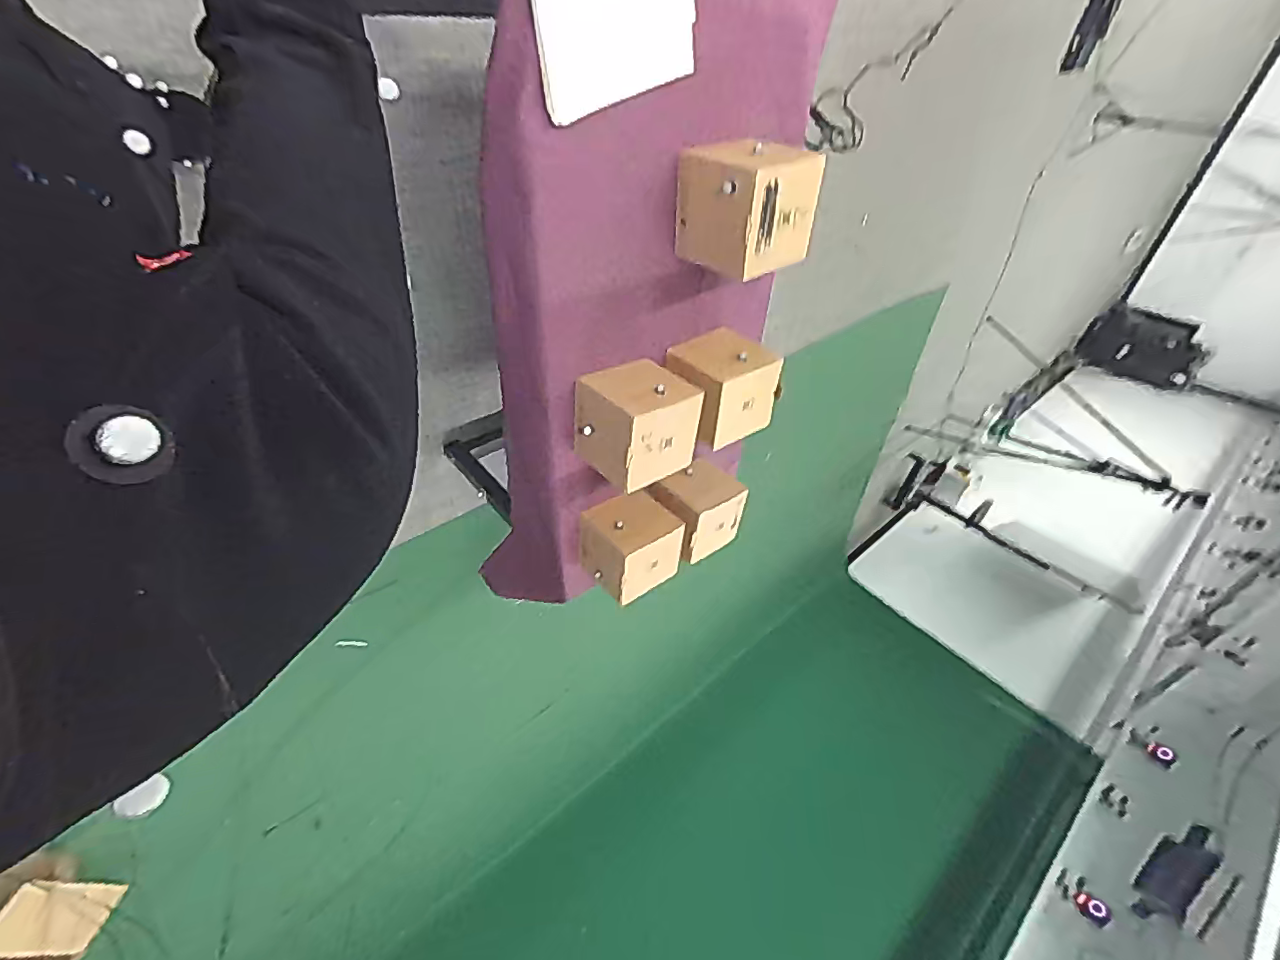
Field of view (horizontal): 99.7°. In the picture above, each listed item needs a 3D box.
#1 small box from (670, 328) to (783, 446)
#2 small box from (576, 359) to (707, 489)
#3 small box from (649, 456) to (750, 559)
[{"bbox_3d":[0.172,-0.204,1.157,0.179,0.176,0.168,-28,139,-30],"label":"small box"},{"bbox_3d":[-0.001,-0.115,1.038,0.179,0.176,0.168,-24,136,-34],"label":"small box"},{"bbox_3d":[0.144,0.064,1.365,0.179,0.176,0.168,-21,136,-35],"label":"small box"}]
